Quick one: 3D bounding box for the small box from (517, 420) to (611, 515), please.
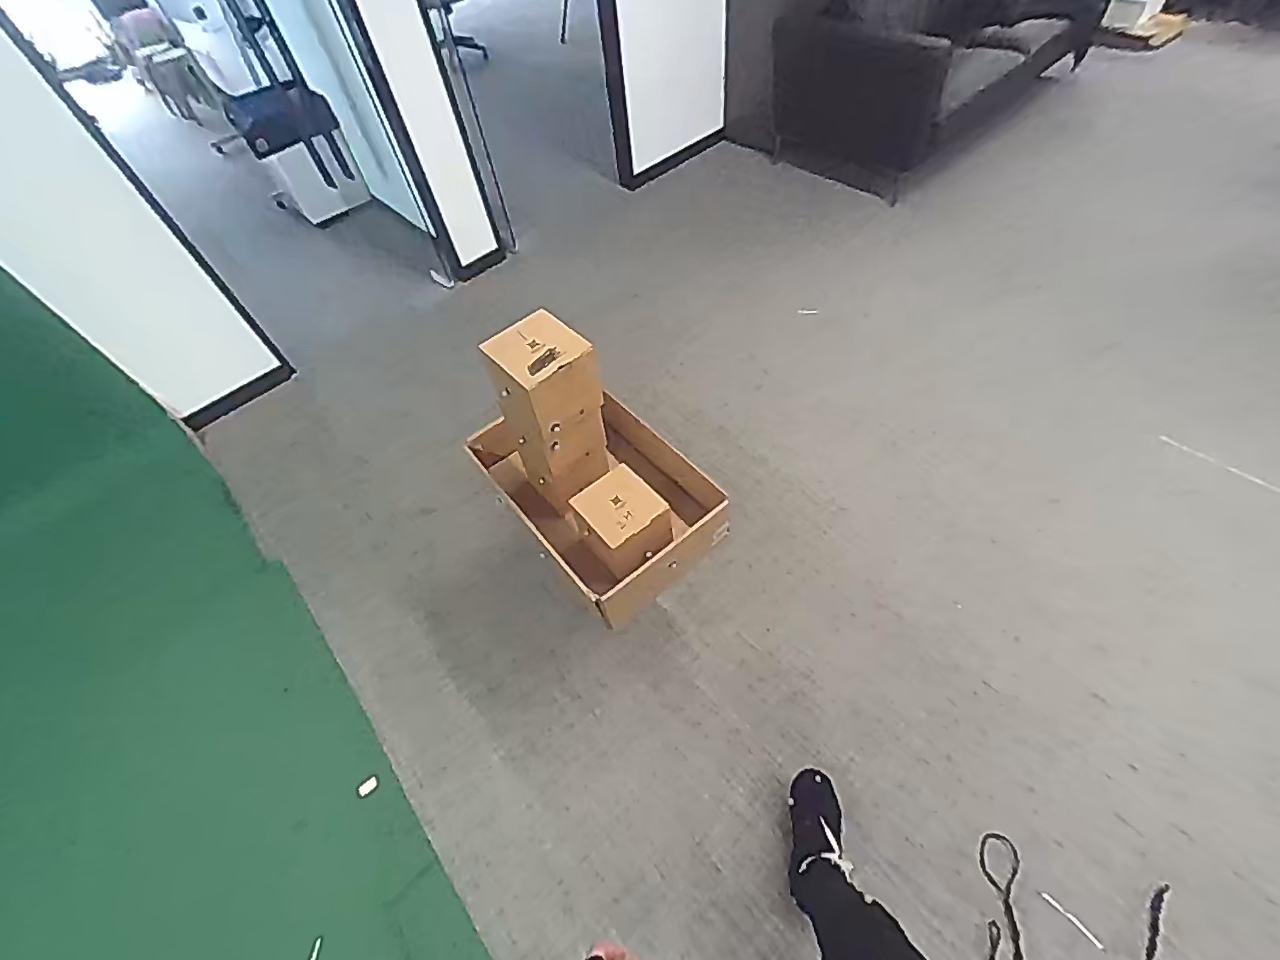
[{"bbox_3d":[-0.194,-0.041,1.424,0.168,0.176,0.179,-37,61,-19],"label":"small box"}]

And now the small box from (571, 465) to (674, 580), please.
[{"bbox_3d":[-0.038,0.104,1.288,0.168,0.176,0.179,-36,56,-17],"label":"small box"}]

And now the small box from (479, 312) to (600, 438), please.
[{"bbox_3d":[-0.204,-0.213,1.143,0.168,0.176,0.179,-39,60,-20],"label":"small box"}]
